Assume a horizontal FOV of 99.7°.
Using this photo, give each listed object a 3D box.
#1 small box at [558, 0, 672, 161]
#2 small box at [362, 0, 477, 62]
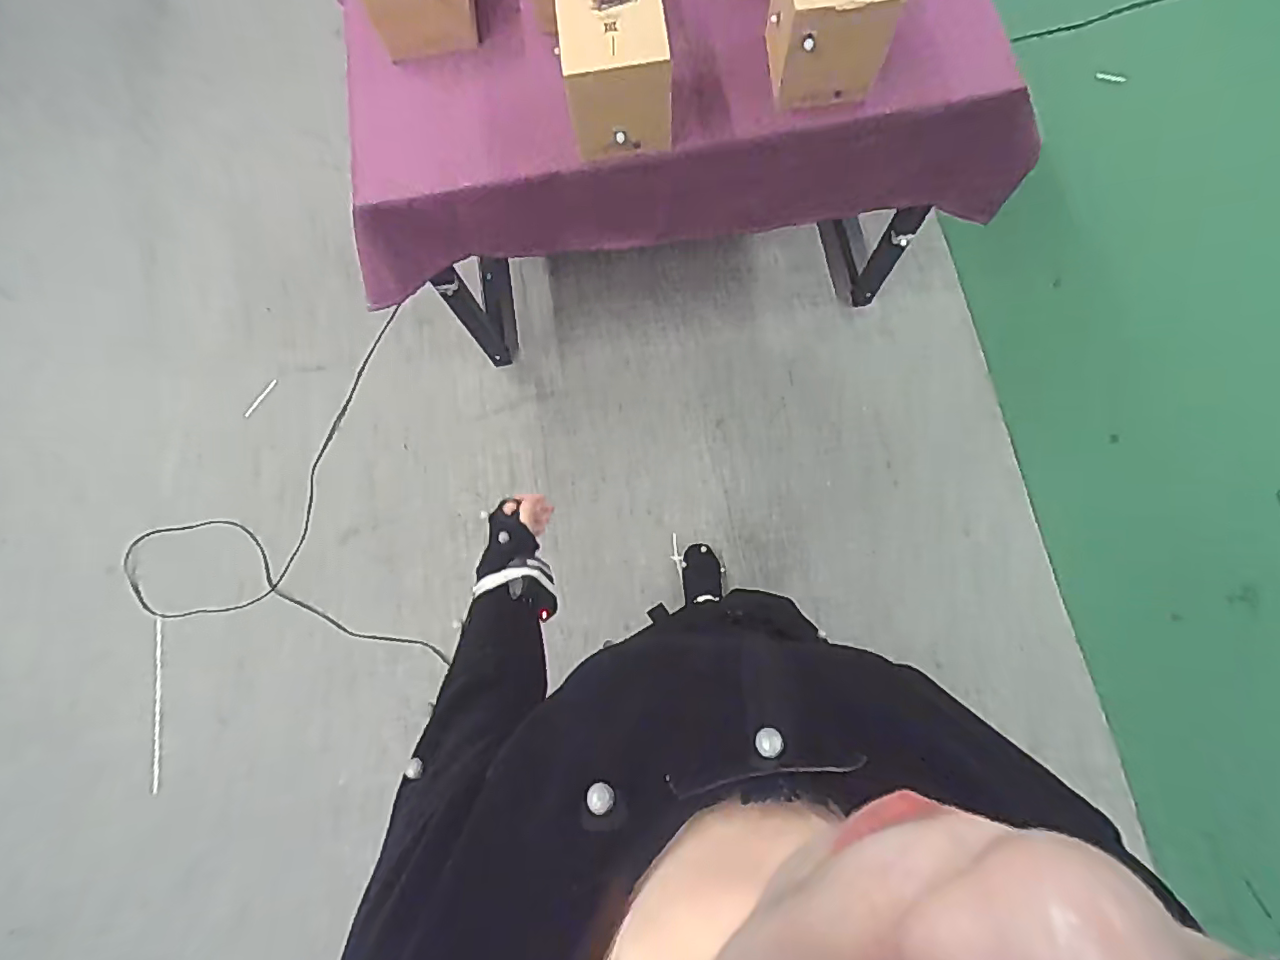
[{"bbox_3d":[-0.038,-0.677,0.902,0.168,0.176,0.179,-7,77,3],"label":"small box"},{"bbox_3d":[-0.405,-0.912,0.982,0.179,0.176,0.168,-8,77,2],"label":"small box"}]
